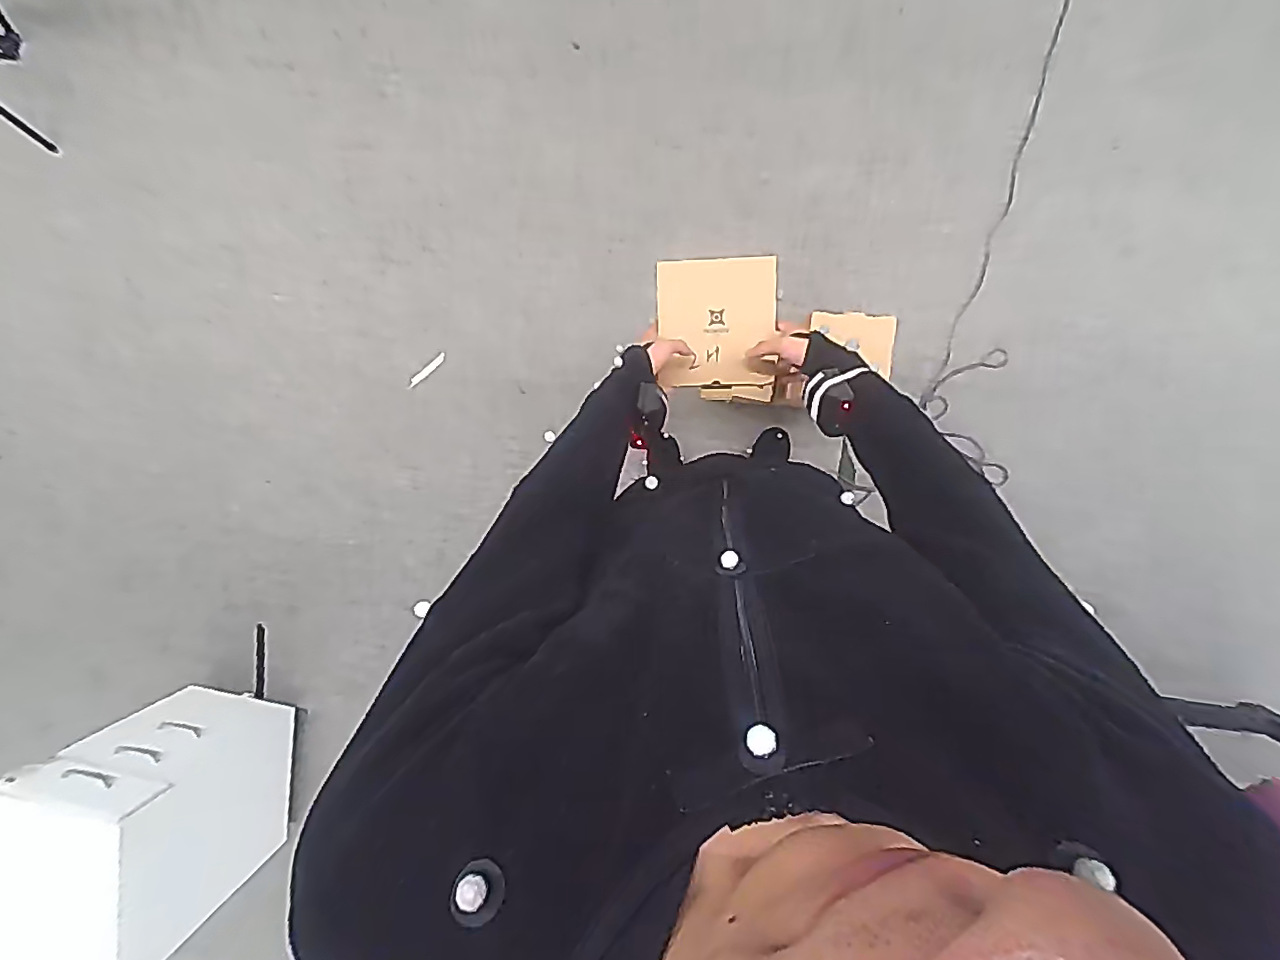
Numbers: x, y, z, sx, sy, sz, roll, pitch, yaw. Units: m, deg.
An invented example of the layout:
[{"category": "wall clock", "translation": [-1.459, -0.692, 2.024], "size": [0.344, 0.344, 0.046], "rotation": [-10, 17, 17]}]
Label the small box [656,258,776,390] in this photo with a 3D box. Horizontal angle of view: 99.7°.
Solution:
[{"category": "small box", "translation": [0.112, -0.229, 0.829], "size": [0.168, 0.176, 0.179], "rotation": [0, 101, 7]}]

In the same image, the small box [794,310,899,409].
[{"category": "small box", "translation": [0.428, -0.249, 1.148], "size": [0.168, 0.176, 0.179], "rotation": [6, 96, 8]}]

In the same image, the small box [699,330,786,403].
[{"category": "small box", "translation": [0.249, -0.287, 1.337], "size": [0.179, 0.176, 0.168], "rotation": [12, 98, 8]}]
